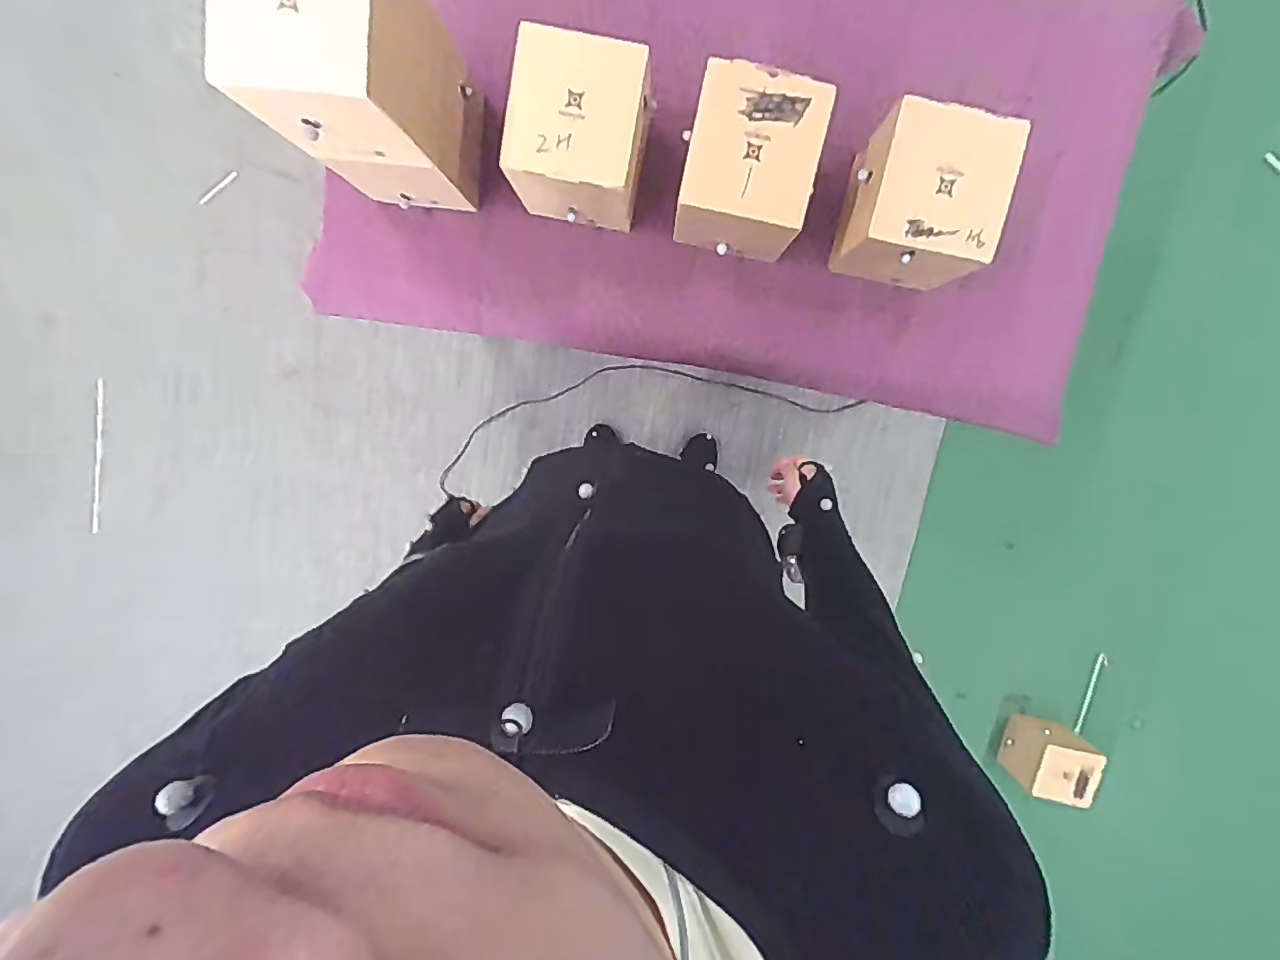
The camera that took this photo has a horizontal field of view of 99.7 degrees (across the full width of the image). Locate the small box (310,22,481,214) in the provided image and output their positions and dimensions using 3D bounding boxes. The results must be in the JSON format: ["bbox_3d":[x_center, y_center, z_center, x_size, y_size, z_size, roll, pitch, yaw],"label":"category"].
[{"bbox_3d":[-0.332,-0.503,0.762,0.168,0.176,0.179,6,98,1],"label":"small box"}]

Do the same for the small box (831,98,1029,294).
[{"bbox_3d":[0.388,-0.382,0.759,0.168,0.176,0.179,13,97,0],"label":"small box"}]

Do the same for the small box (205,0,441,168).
[{"bbox_3d":[-0.337,-0.477,0.603,0.168,0.176,0.179,6,97,1],"label":"small box"}]
